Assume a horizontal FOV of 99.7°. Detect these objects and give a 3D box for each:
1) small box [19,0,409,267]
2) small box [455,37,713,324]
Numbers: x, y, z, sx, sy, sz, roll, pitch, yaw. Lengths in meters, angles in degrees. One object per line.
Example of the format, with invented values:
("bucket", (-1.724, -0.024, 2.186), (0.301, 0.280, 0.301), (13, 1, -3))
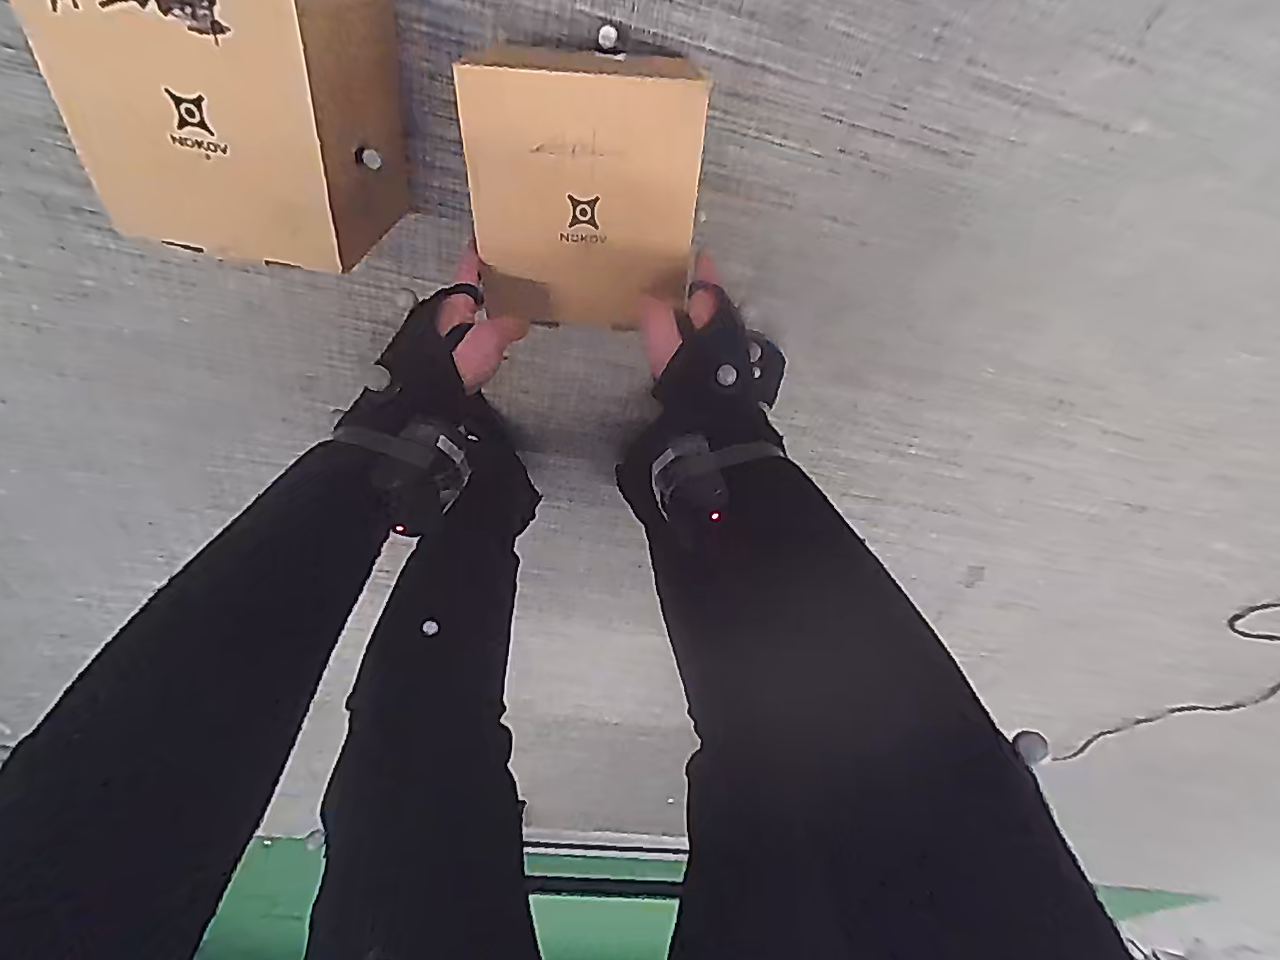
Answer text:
("small box", (-0.290, -0.294, 0.414), (0.168, 0.176, 0.179), (9, 132, -7))
("small box", (-0.040, -0.251, 0.452), (0.168, 0.176, 0.179), (1, 130, -3))
